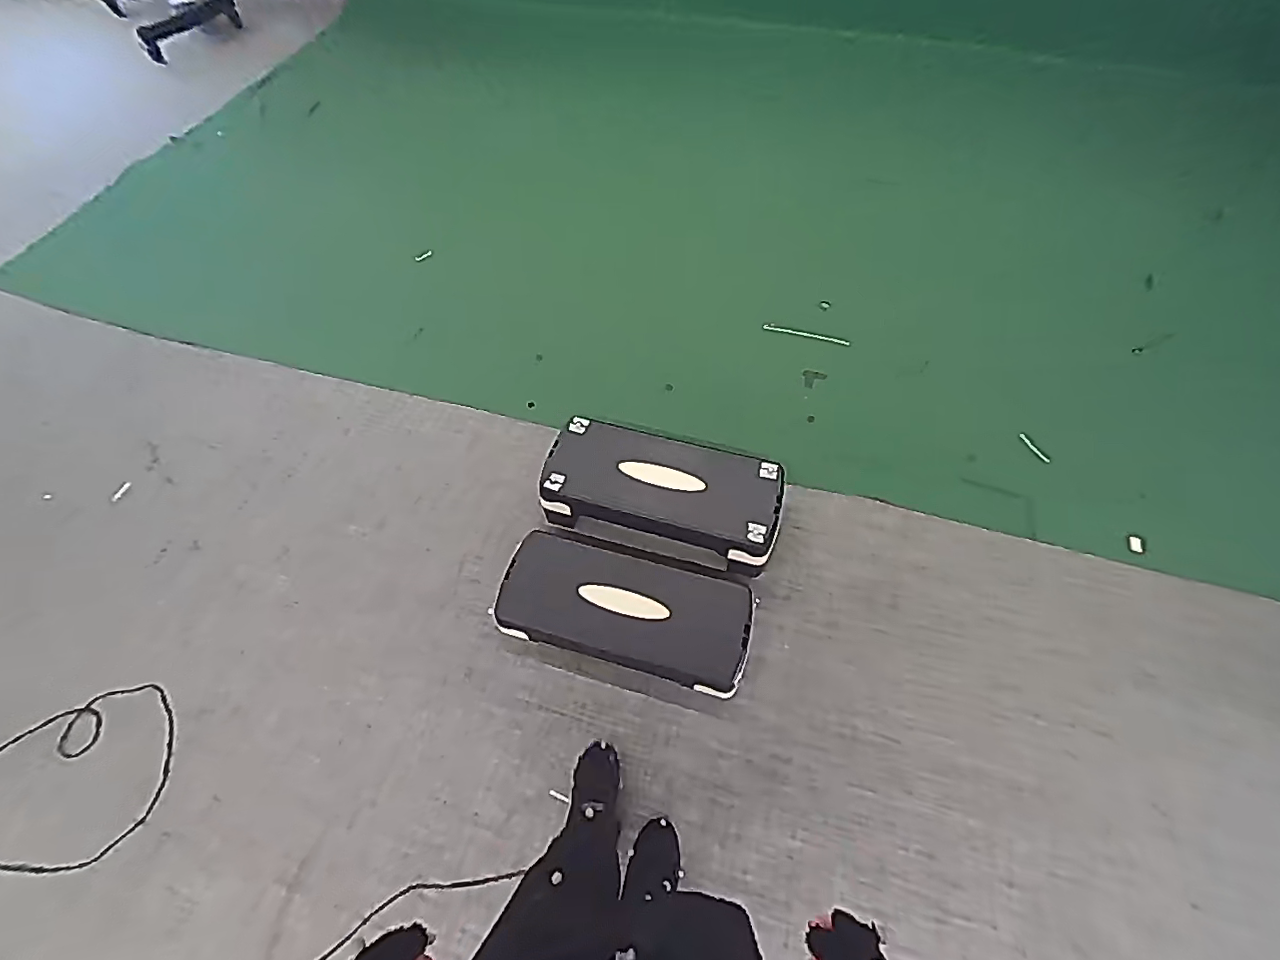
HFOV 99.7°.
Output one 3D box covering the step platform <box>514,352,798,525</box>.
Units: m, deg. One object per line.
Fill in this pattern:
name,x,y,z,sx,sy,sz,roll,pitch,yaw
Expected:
step platform,0.040,-0.108,1.399,0.684,0.204,0.286,14,62,10
